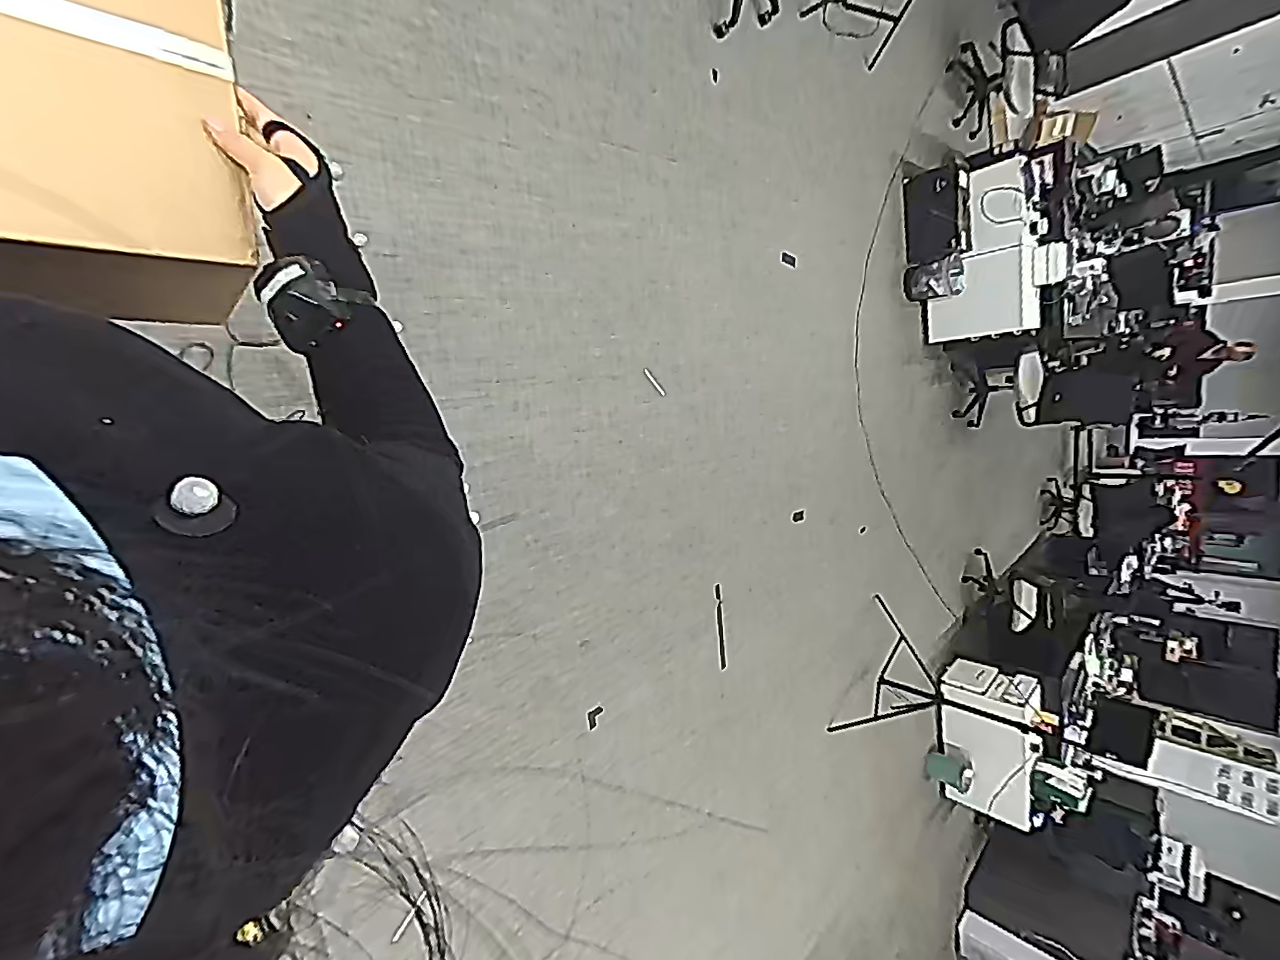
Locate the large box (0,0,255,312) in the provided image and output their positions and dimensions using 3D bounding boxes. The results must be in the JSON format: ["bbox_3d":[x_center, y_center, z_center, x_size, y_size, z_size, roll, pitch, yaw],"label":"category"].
[{"bbox_3d":[-0.598,-0.325,0.439,0.408,0.320,0.320,-11,99,-42],"label":"large box"}]
